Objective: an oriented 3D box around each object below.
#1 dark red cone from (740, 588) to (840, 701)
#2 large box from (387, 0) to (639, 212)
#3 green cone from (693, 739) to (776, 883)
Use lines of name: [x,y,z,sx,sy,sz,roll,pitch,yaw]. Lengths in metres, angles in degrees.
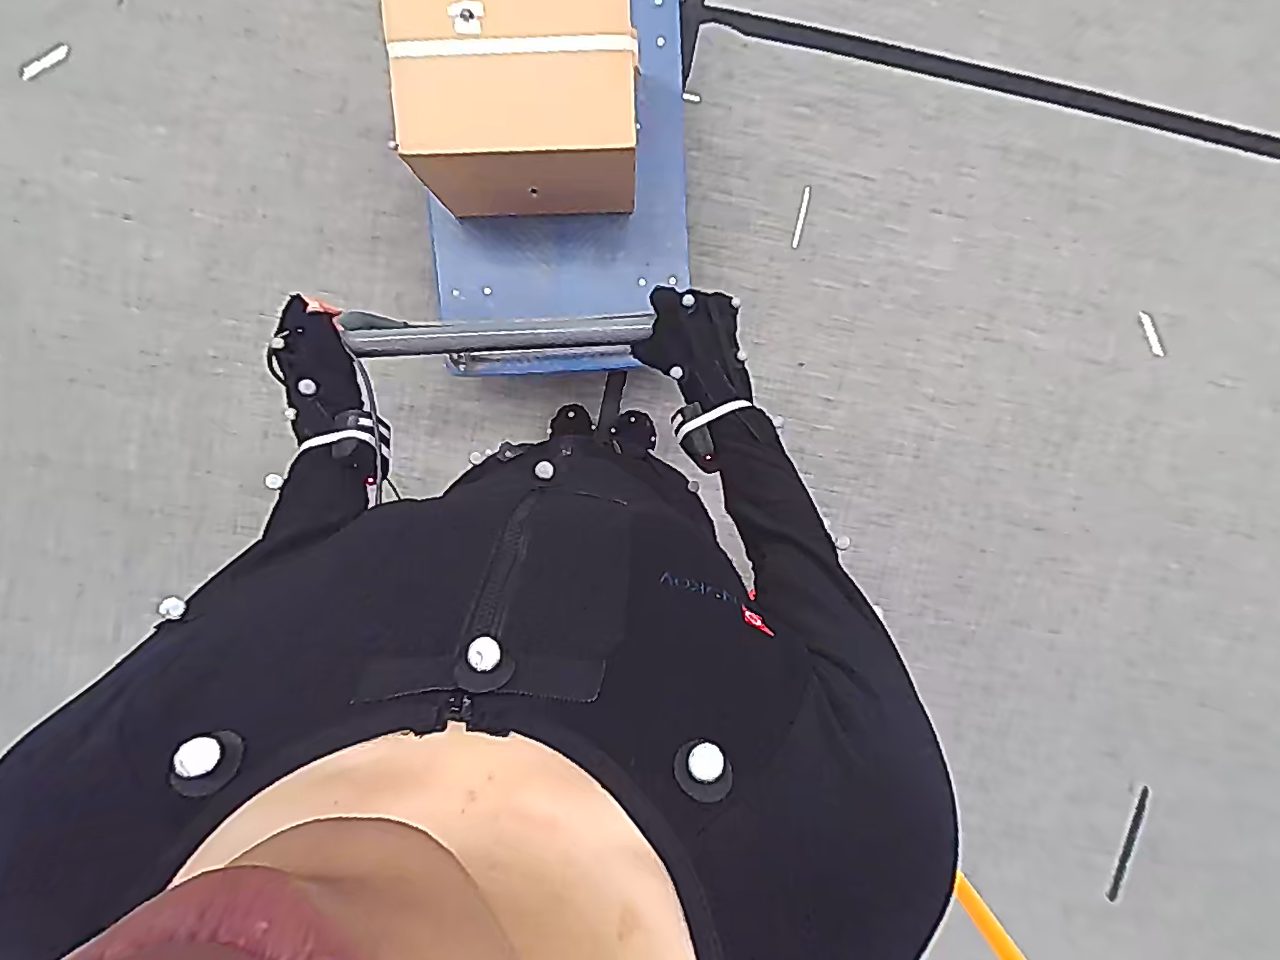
dark red cone: [0.399,0.431,1.350,0.201,0.394,0.202,11,98,-5]
large box: [-0.212,-0.731,1.040,0.408,0.320,0.320,-2,98,-1]
green cone: [0.281,0.895,1.429,0.202,0.368,0.200,15,97,-5]
